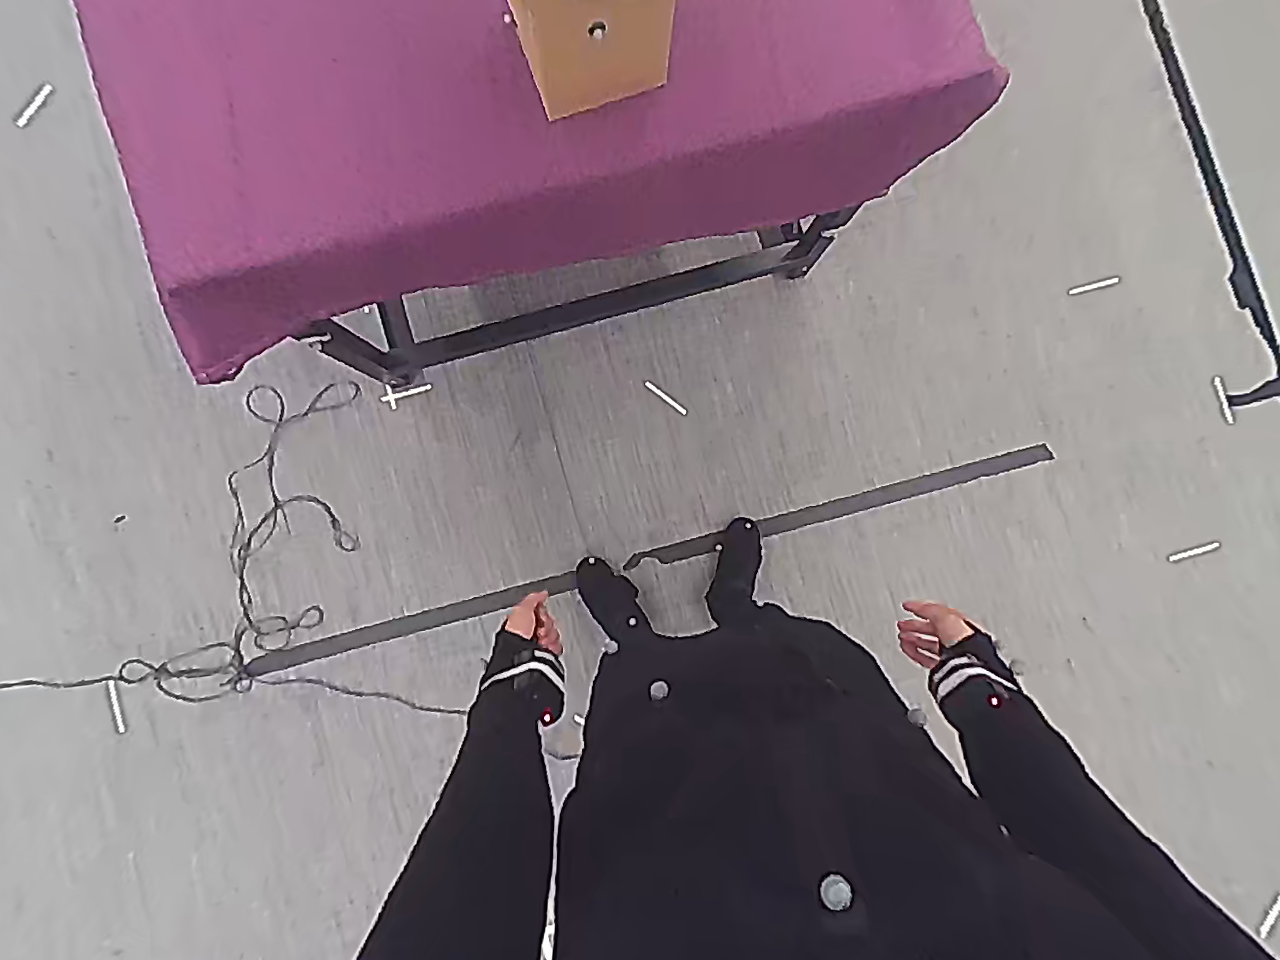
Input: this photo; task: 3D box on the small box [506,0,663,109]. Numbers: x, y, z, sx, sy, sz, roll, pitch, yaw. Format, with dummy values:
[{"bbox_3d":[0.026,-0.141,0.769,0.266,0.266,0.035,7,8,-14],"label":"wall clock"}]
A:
[{"bbox_3d":[-0.075,-0.612,0.674,0.179,0.176,0.168,-20,88,-4],"label":"small box"}]
